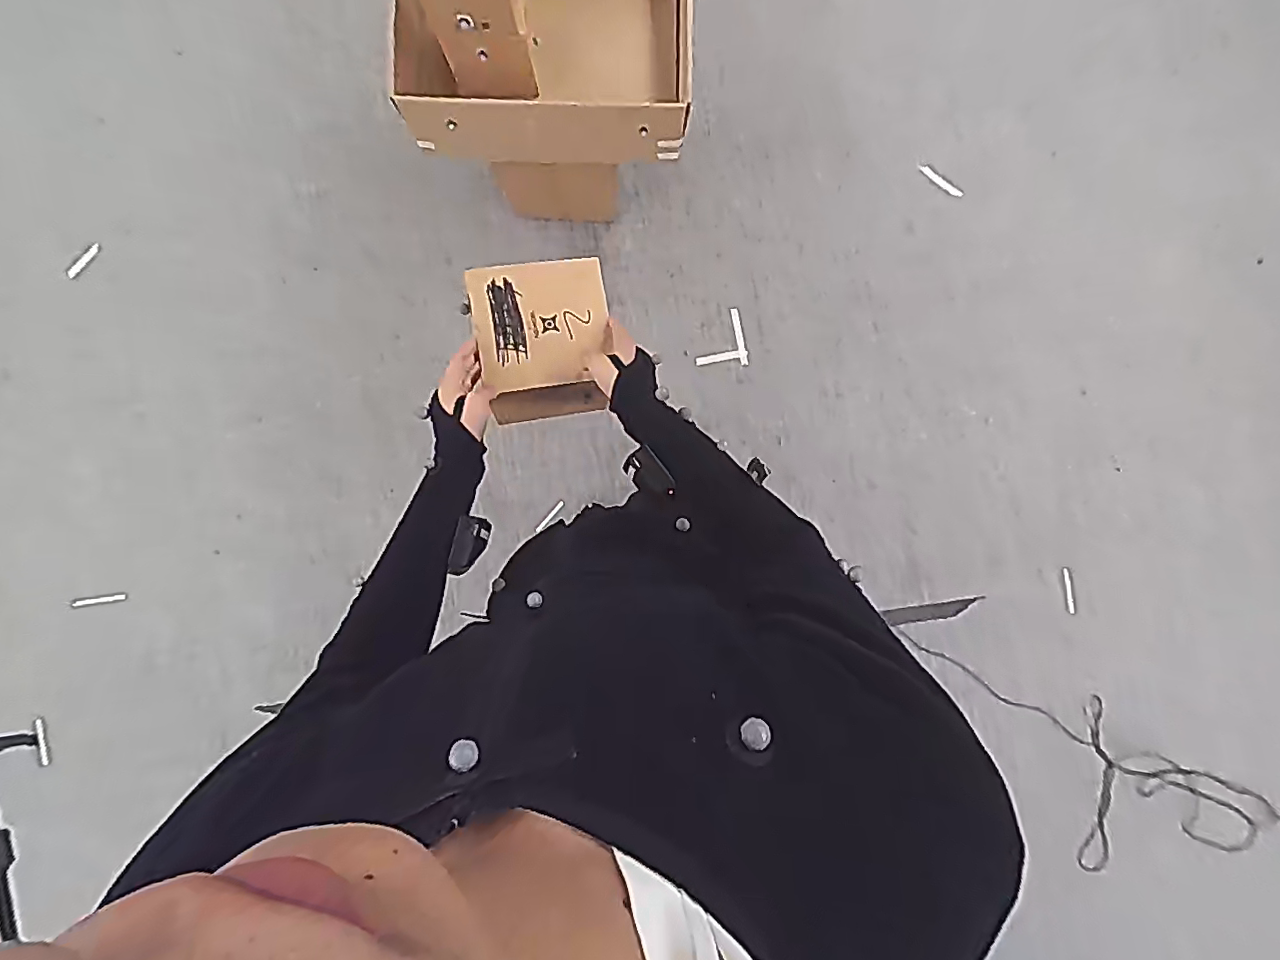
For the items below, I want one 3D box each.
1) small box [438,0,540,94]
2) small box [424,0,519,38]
[{"bbox_3d":[-0.315,-0.953,1.143,0.179,0.176,0.168,-3,90,-2],"label":"small box"},{"bbox_3d":[-0.322,-0.956,0.979,0.168,0.176,0.179,-5,89,0],"label":"small box"}]
